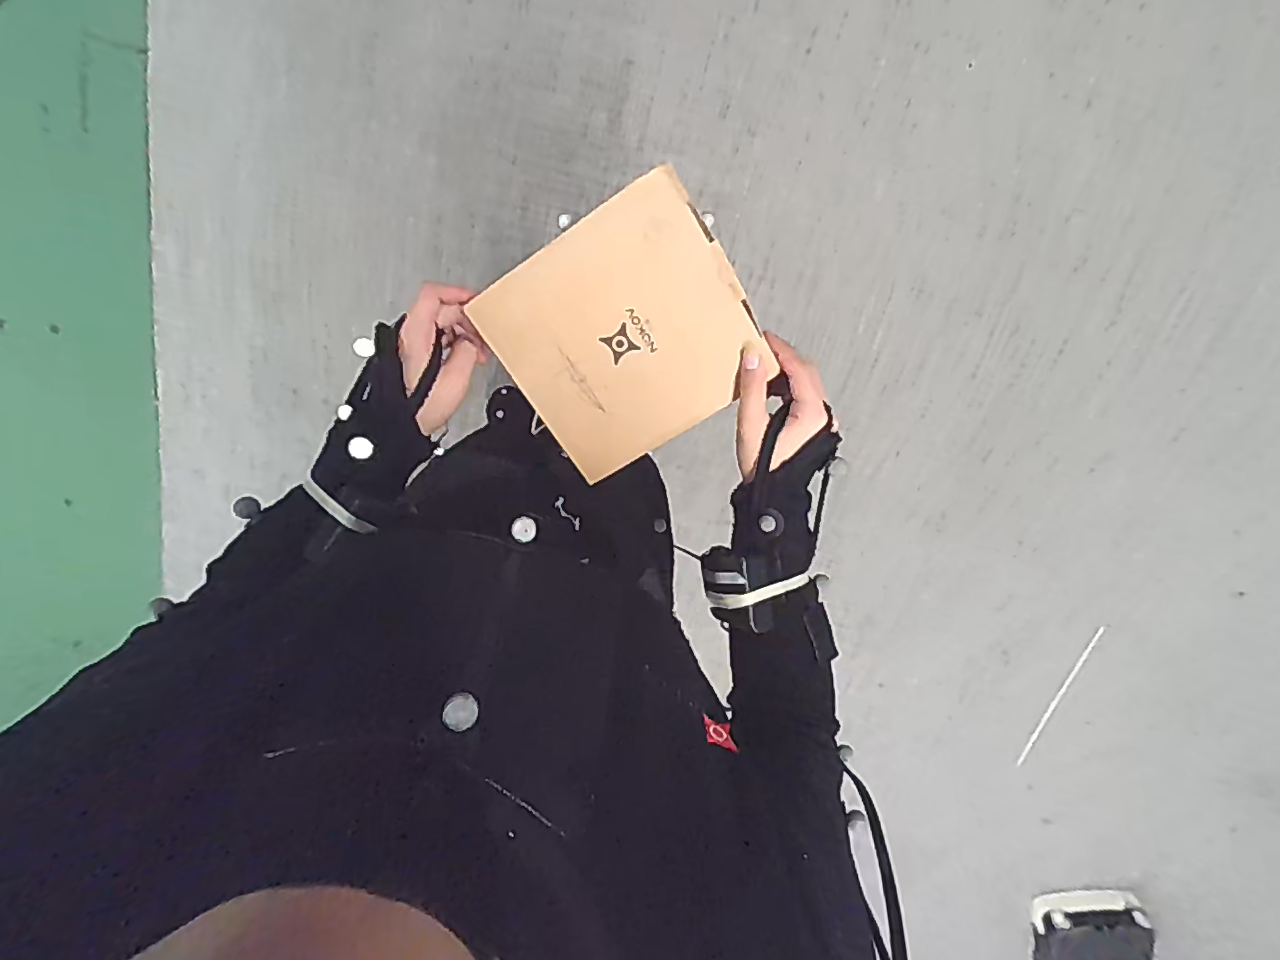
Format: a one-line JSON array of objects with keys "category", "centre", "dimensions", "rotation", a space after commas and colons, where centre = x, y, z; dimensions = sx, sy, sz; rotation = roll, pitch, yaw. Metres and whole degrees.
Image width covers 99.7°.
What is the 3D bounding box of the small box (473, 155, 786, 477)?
[{"category": "small box", "centre": [-0.005, -0.137, 0.464], "dimensions": [0.179, 0.176, 0.168], "rotation": [-31, 108, 15]}]
